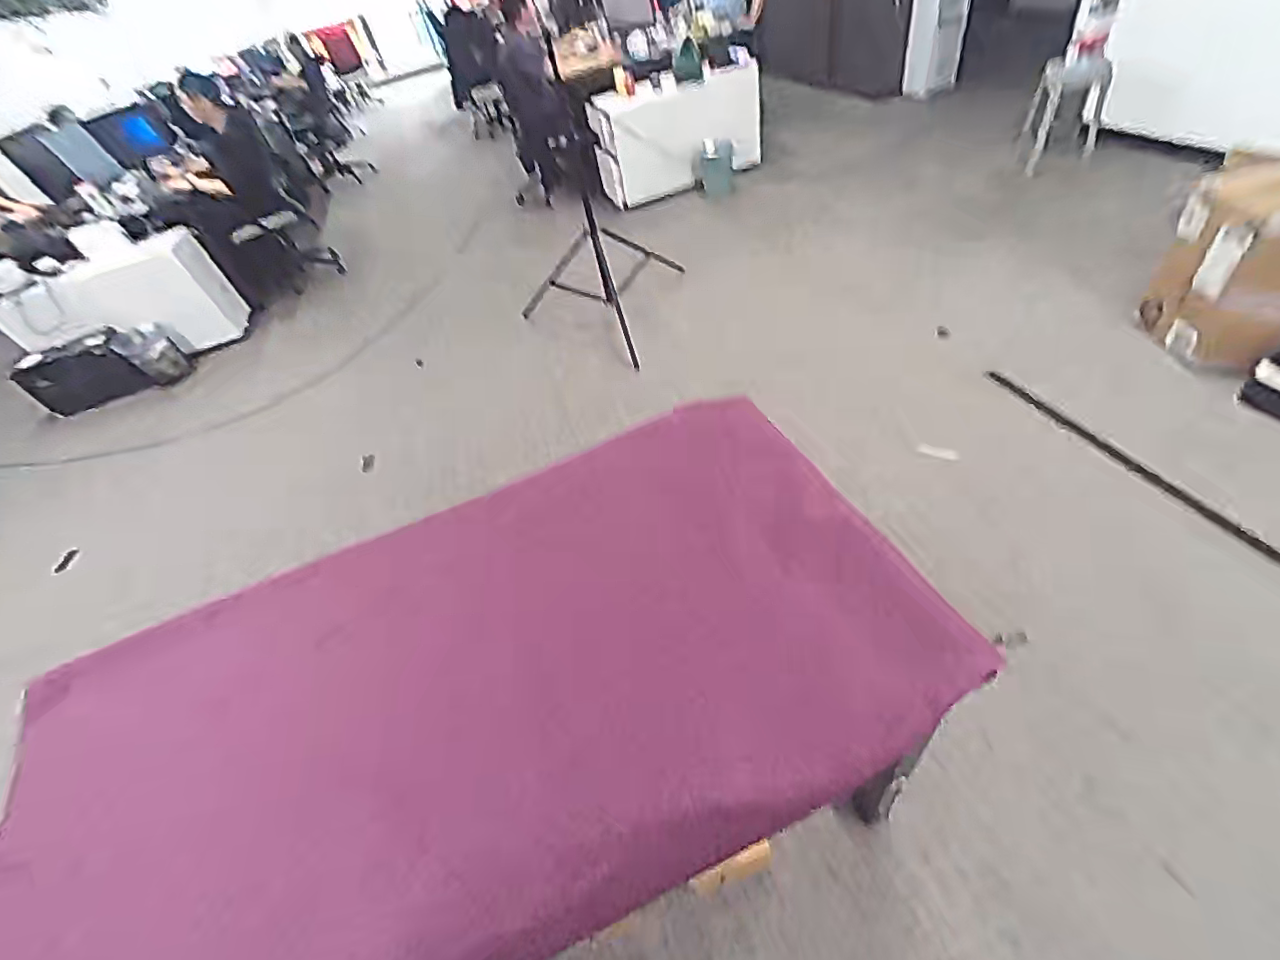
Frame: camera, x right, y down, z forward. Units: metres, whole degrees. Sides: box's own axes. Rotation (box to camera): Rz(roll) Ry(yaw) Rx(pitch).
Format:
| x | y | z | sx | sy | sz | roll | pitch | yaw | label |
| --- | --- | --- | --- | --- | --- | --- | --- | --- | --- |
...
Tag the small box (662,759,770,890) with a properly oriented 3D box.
| x | y | z | sx | sy | sz | roll | pitch | yaw | label |
| --- | --- | --- | --- | --- | --- | --- | --- | --- | --- |
| 0.160 | 0.718 | 1.119 | 0.168 | 0.176 | 0.179 | -20 | 45 | -4 | small box |
